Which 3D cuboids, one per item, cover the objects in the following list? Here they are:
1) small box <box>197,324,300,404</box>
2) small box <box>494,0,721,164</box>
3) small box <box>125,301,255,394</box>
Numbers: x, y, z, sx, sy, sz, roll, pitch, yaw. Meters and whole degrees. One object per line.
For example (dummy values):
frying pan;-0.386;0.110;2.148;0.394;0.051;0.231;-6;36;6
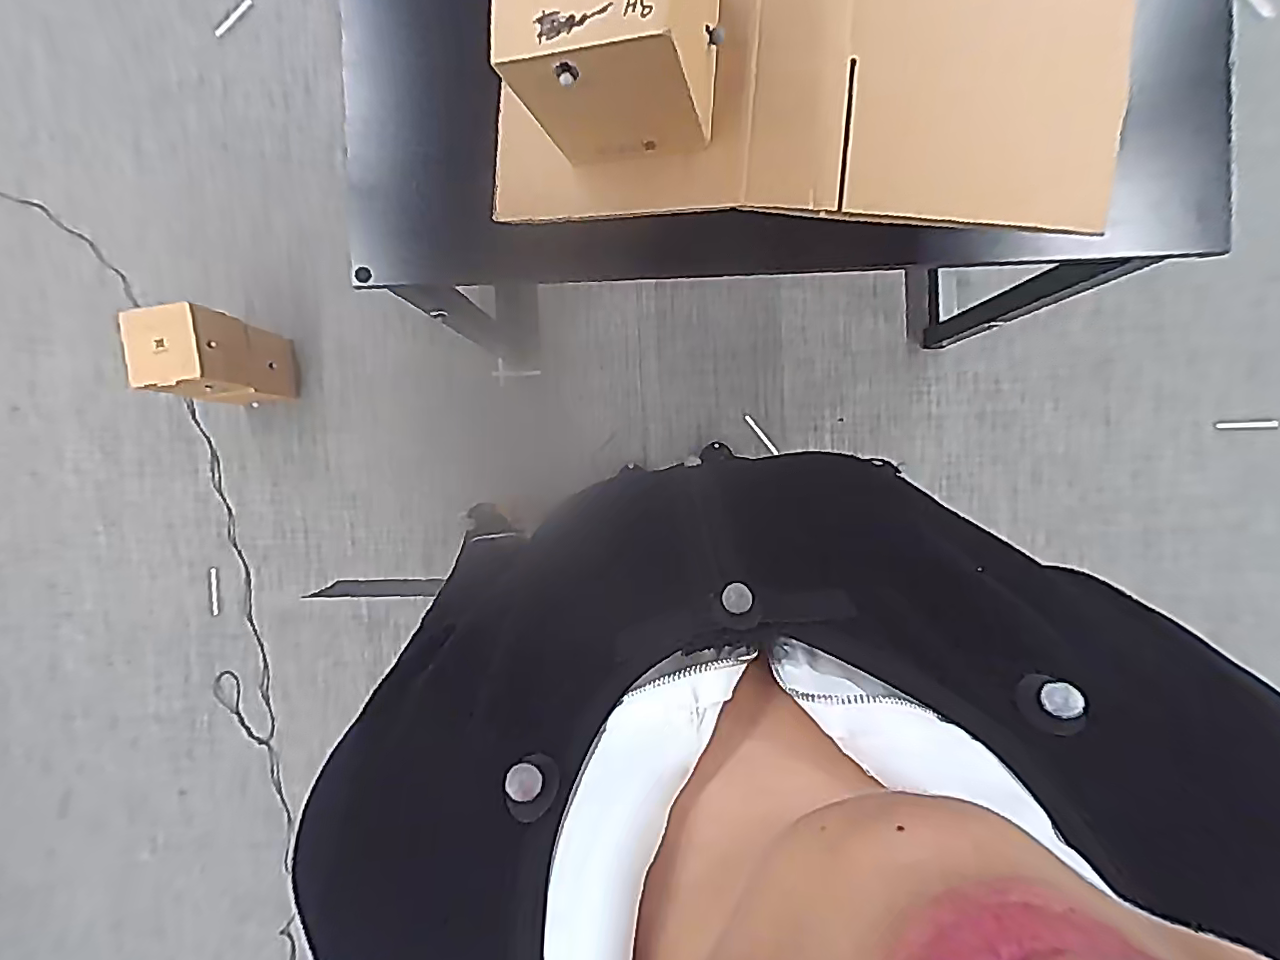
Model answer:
small box;-1.053;-0.306;1.454;0.168;0.176;0.179;-5;93;3
small box;-0.019;-0.444;0.523;0.168;0.176;0.179;4;92;18
small box;-1.062;-0.306;1.292;0.168;0.176;0.179;-8;90;2
